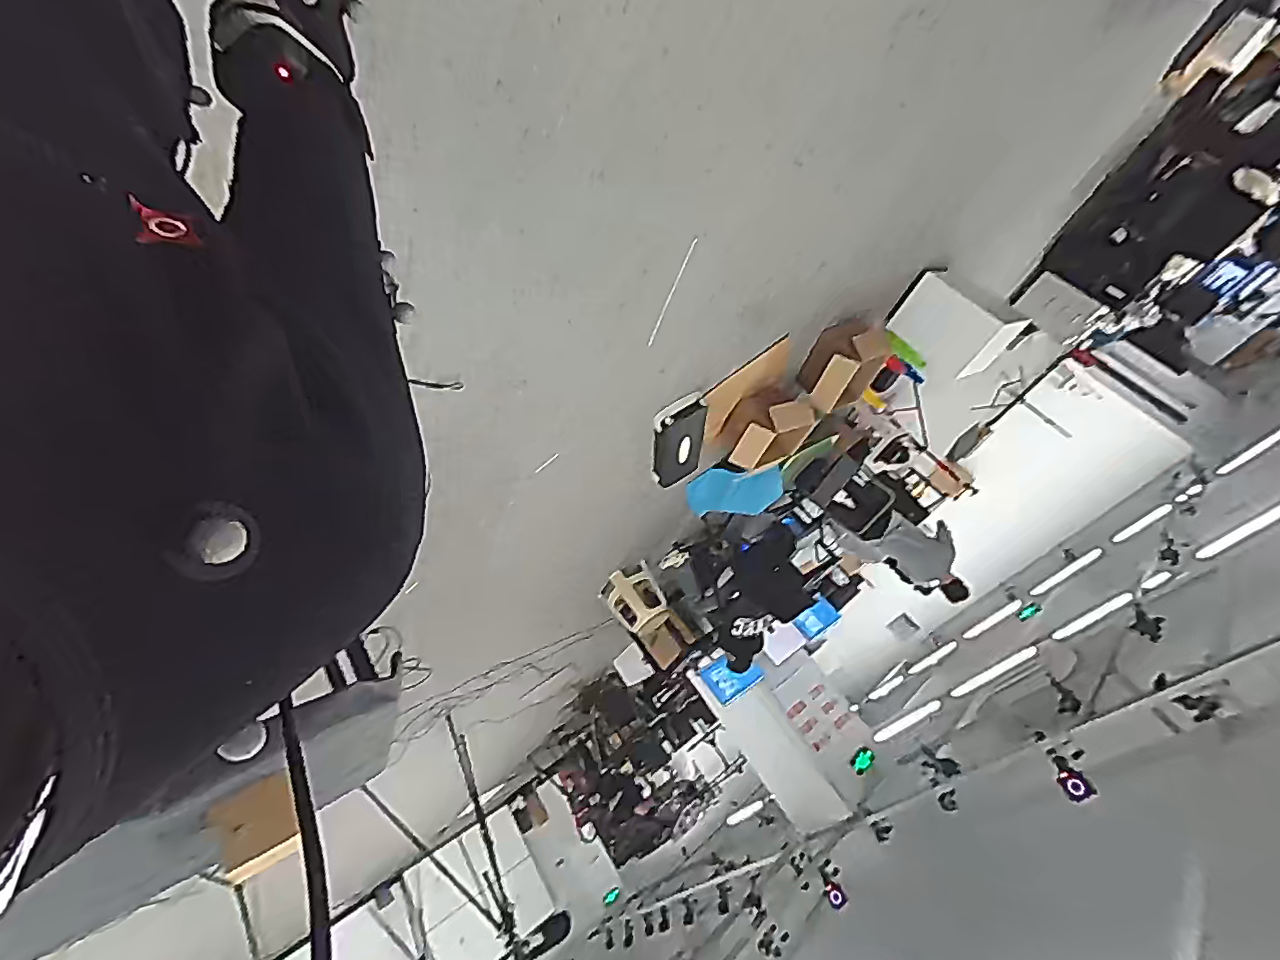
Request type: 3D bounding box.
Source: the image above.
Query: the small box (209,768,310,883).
[{"bbox_3d":[-0.980,0.885,1.392,0.179,0.176,0.168,-20,151,-38],"label":"small box"}]
